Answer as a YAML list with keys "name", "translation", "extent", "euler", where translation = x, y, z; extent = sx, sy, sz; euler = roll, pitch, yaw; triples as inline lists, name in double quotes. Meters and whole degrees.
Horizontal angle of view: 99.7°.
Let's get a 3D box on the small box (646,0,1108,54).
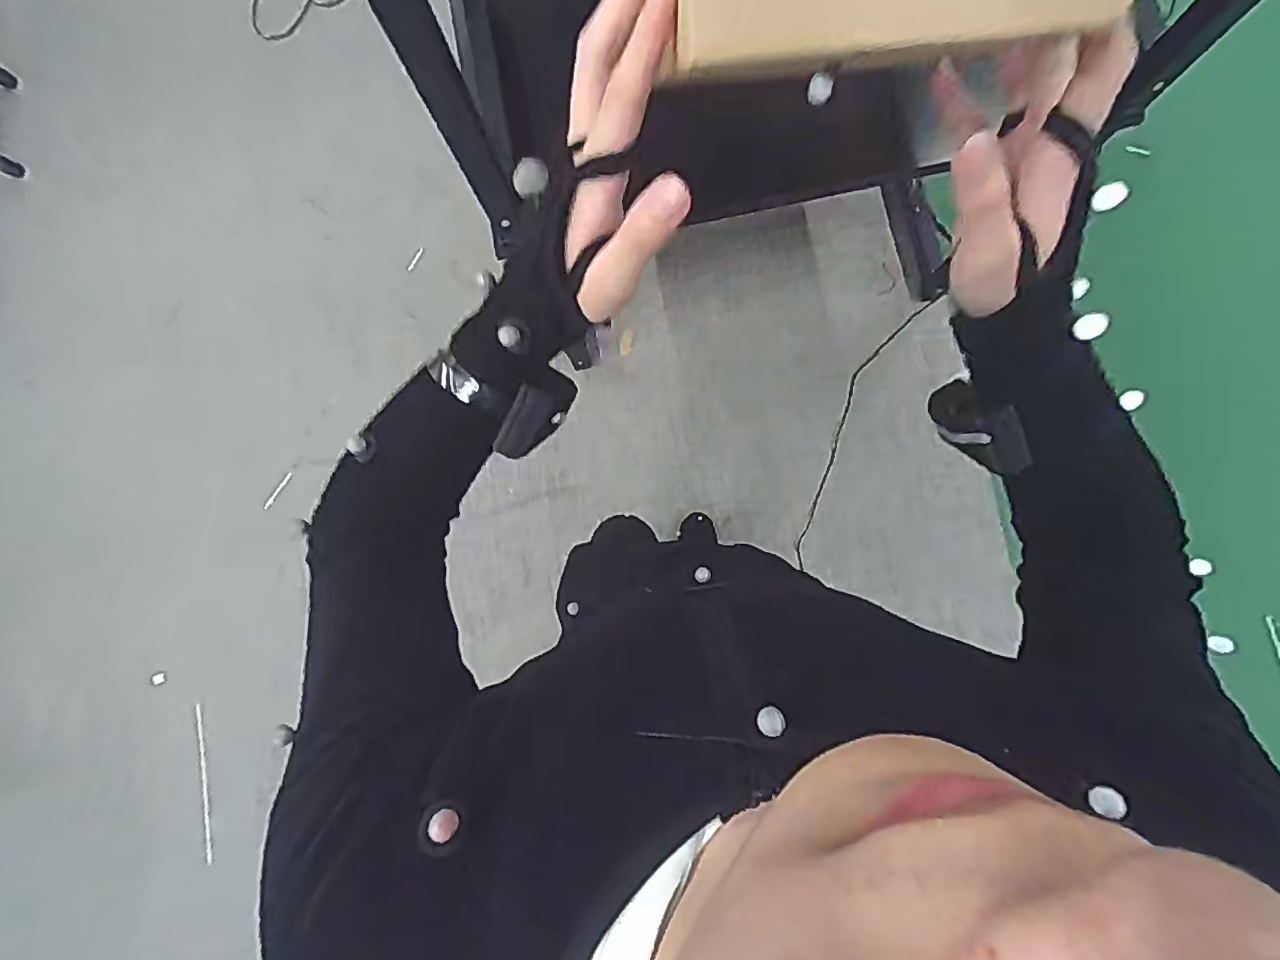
- name: "small box"
  translation: [0.094, -0.290, 0.224]
  extent: [0.179, 0.176, 0.168]
  euler: [-6, 125, -1]
